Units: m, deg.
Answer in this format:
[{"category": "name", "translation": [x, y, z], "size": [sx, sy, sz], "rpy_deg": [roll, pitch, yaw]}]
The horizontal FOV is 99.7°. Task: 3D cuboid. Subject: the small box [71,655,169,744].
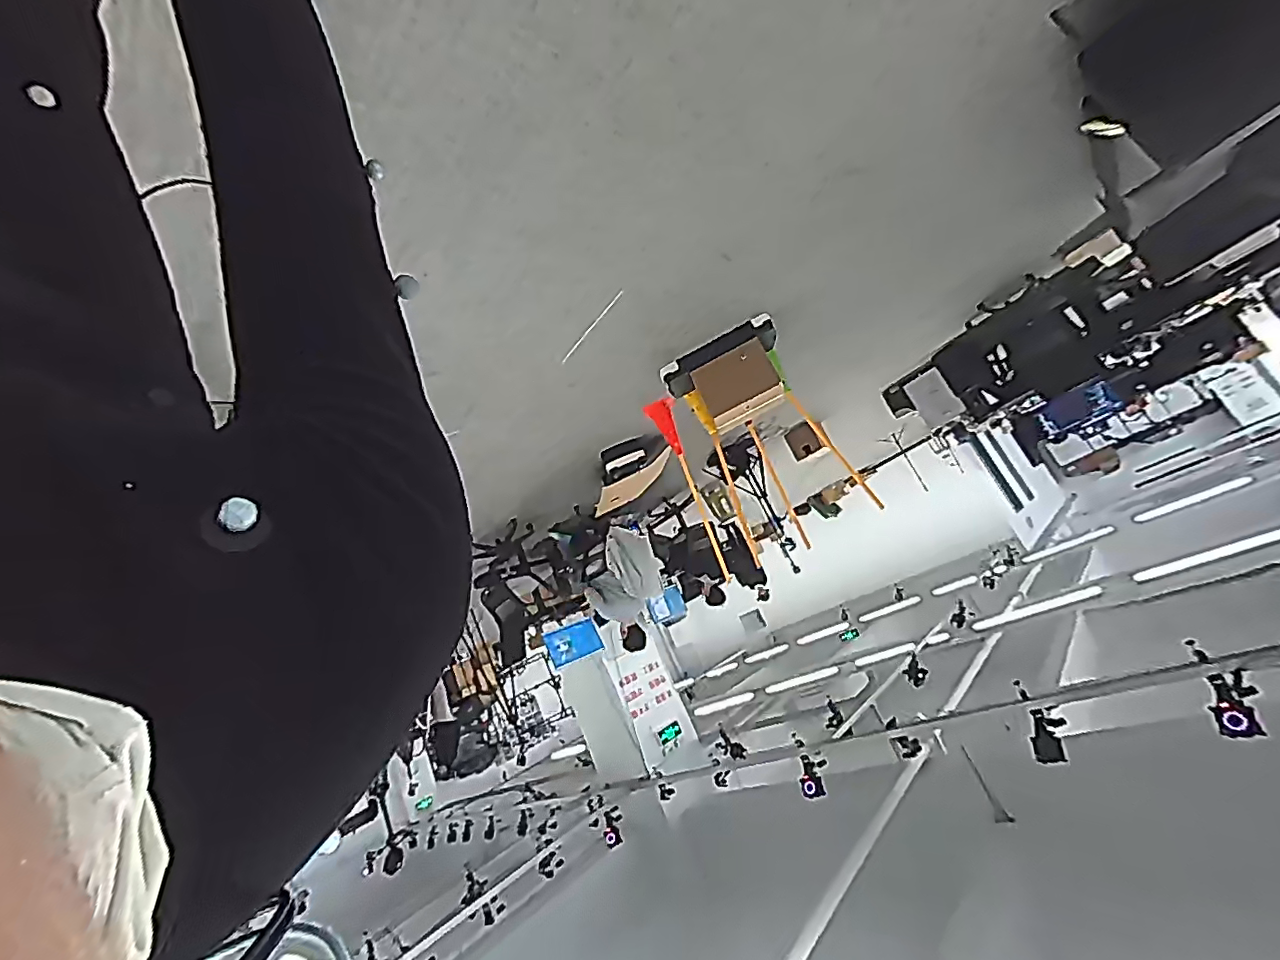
[{"category": "small box", "translation": [-1.528, 0.638, 1.585], "size": [0.168, 0.176, 0.179], "rpy_deg": [-34, 163, 31]}]
